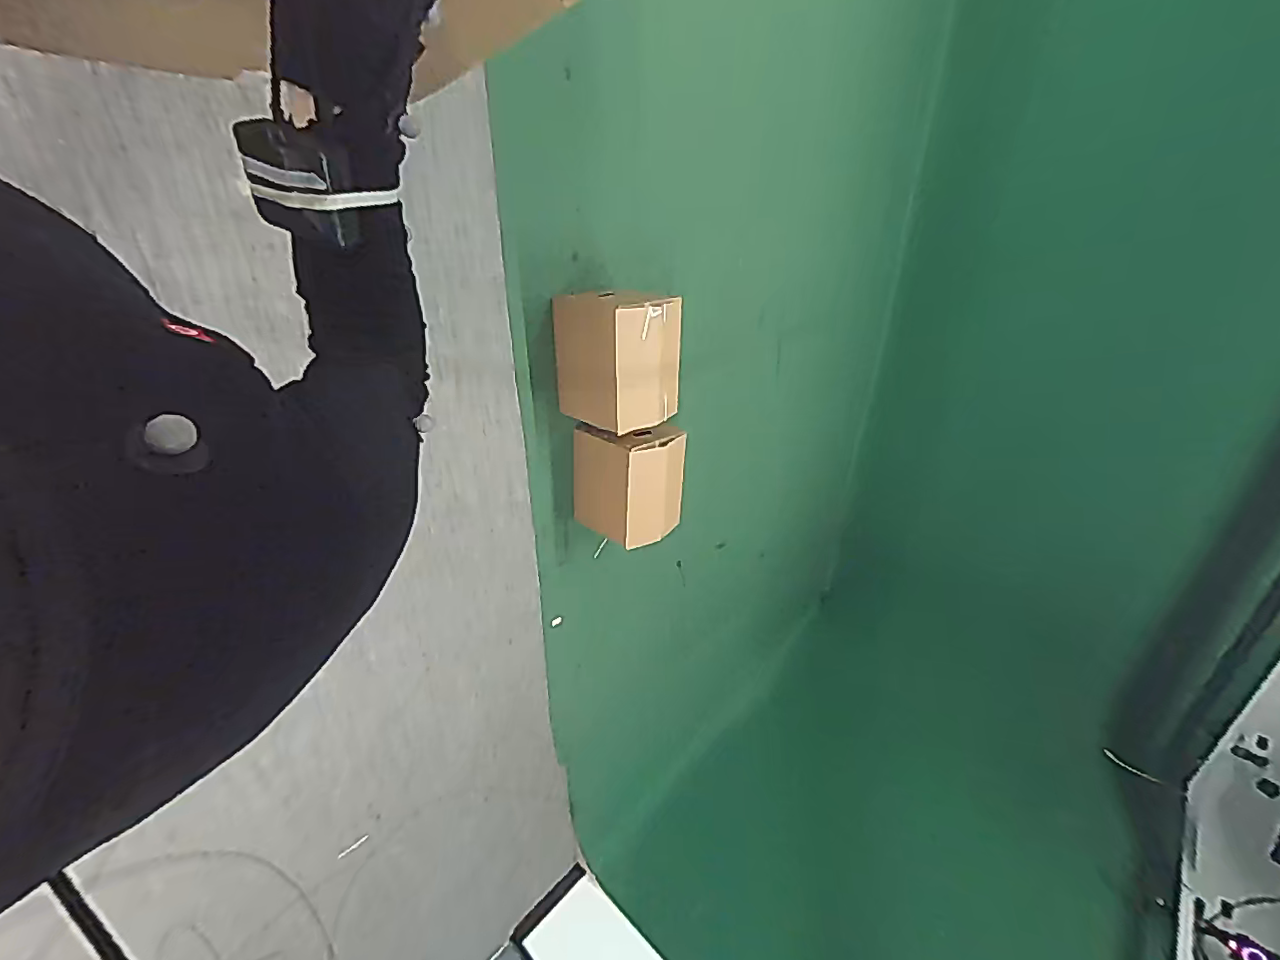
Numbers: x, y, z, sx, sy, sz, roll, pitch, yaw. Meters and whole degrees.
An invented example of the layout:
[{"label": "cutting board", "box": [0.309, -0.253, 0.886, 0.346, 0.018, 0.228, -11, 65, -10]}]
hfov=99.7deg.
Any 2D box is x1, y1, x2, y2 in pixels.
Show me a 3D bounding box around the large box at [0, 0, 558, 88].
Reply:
[{"label": "large box", "box": [-0.253, -0.515, 0.299, 0.320, 0.320, 0.408, -25, 119, -41]}]
